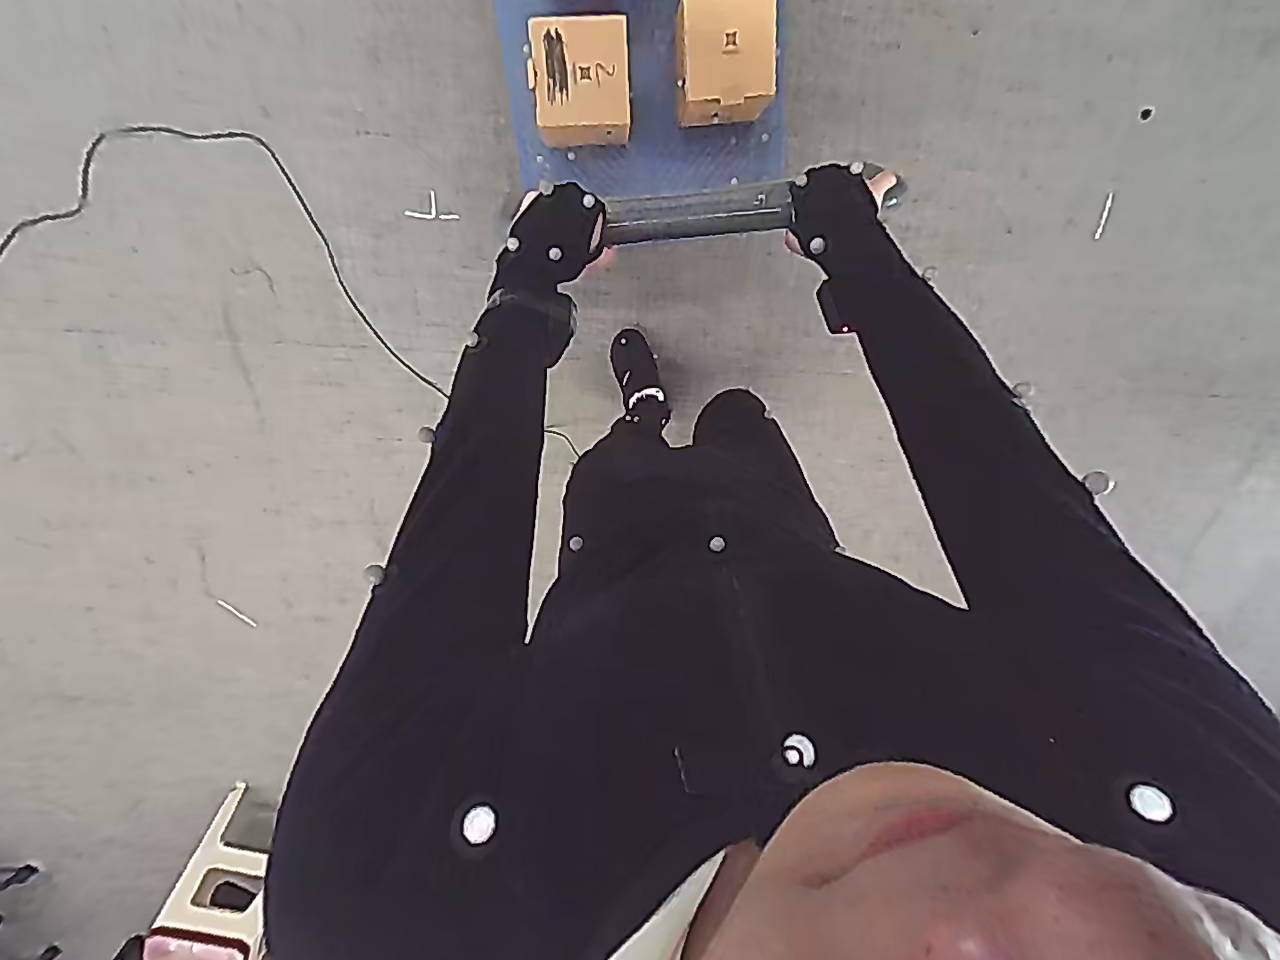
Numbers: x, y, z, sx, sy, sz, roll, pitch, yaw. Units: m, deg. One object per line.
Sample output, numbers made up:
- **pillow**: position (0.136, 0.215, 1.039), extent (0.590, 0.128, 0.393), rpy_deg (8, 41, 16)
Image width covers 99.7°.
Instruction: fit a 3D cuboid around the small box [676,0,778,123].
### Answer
- **small box**: position (0.162, -0.817, 1.045), extent (0.168, 0.176, 0.179), rpy_deg (-5, 112, -1)
